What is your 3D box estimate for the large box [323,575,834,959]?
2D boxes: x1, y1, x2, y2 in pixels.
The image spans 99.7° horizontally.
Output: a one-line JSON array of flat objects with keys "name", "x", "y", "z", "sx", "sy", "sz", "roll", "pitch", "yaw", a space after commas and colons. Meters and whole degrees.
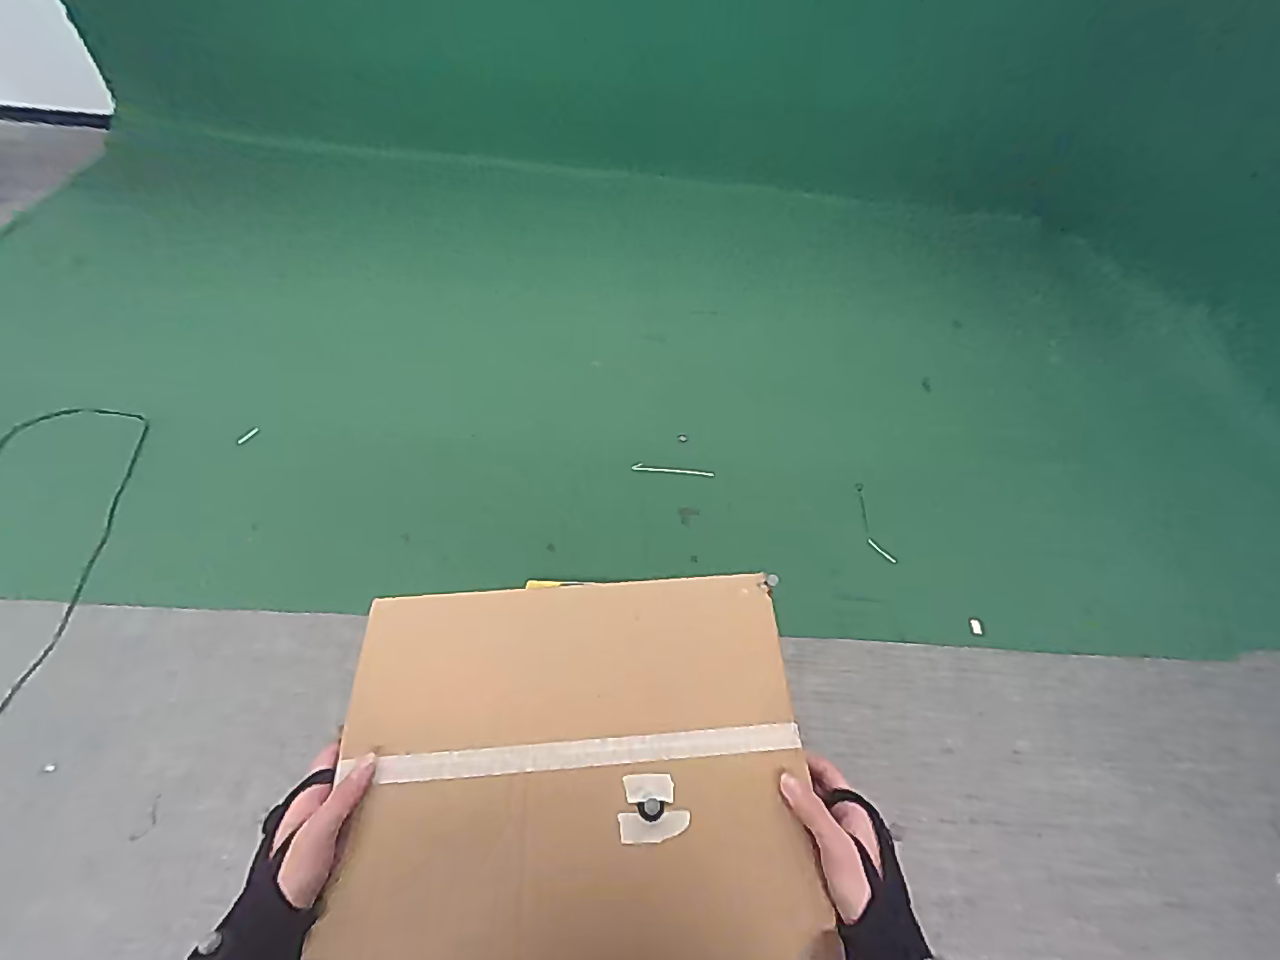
[{"name": "large box", "x": -0.059, "y": 0.326, "z": 0.615, "sx": 0.408, "sy": 0.320, "sz": 0.320, "roll": -3, "pitch": 57, "yaw": -3}]
